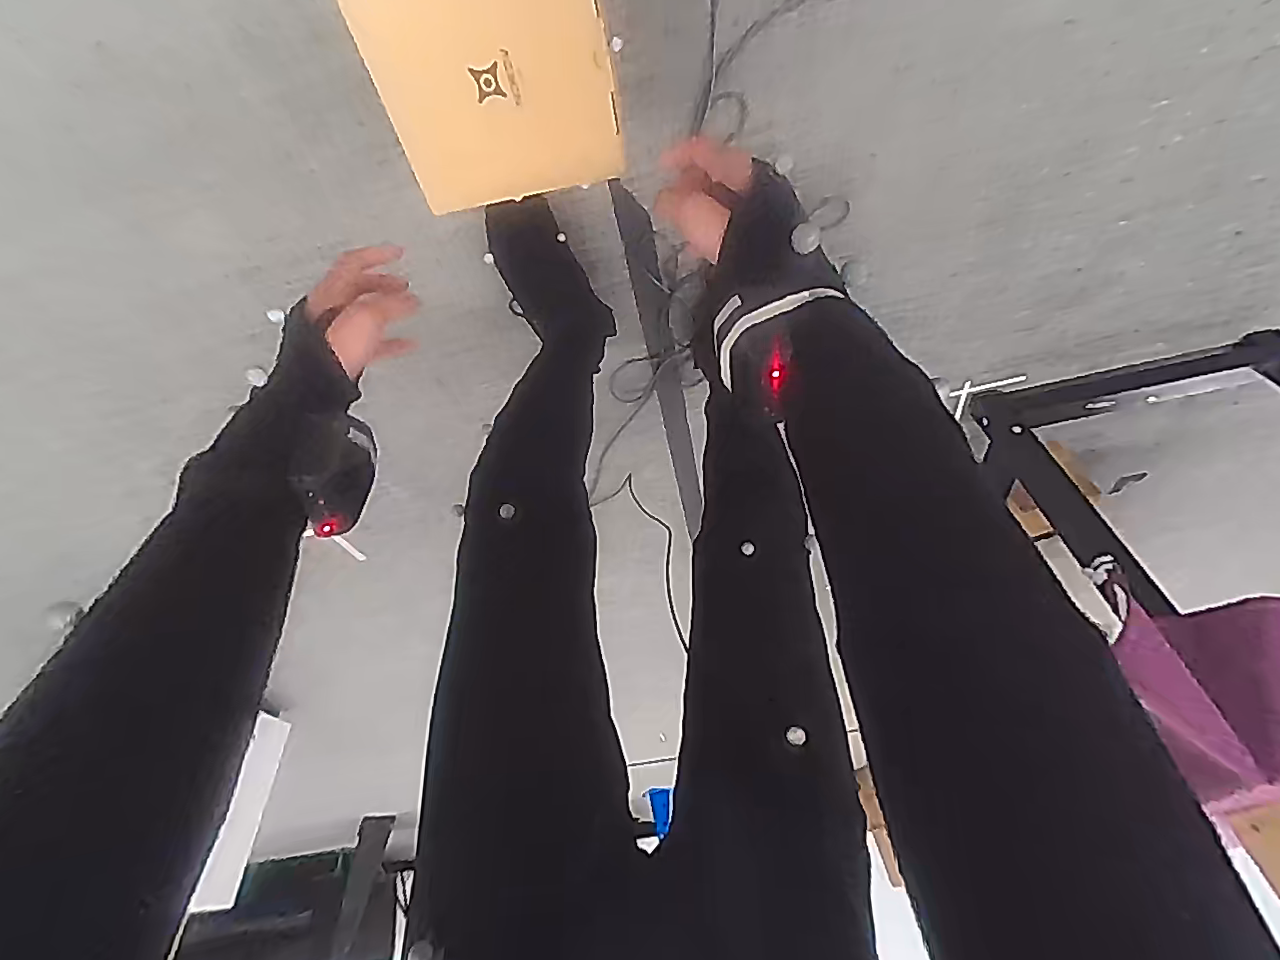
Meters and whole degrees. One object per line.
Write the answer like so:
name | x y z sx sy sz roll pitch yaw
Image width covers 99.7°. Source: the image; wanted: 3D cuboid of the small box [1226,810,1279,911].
small box | 1.016 0.553 0.756 0.179 0.176 0.168 -13 138 7

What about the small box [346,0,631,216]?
small box | -0.108 -0.354 0.458 0.179 0.176 0.168 -9 138 5
